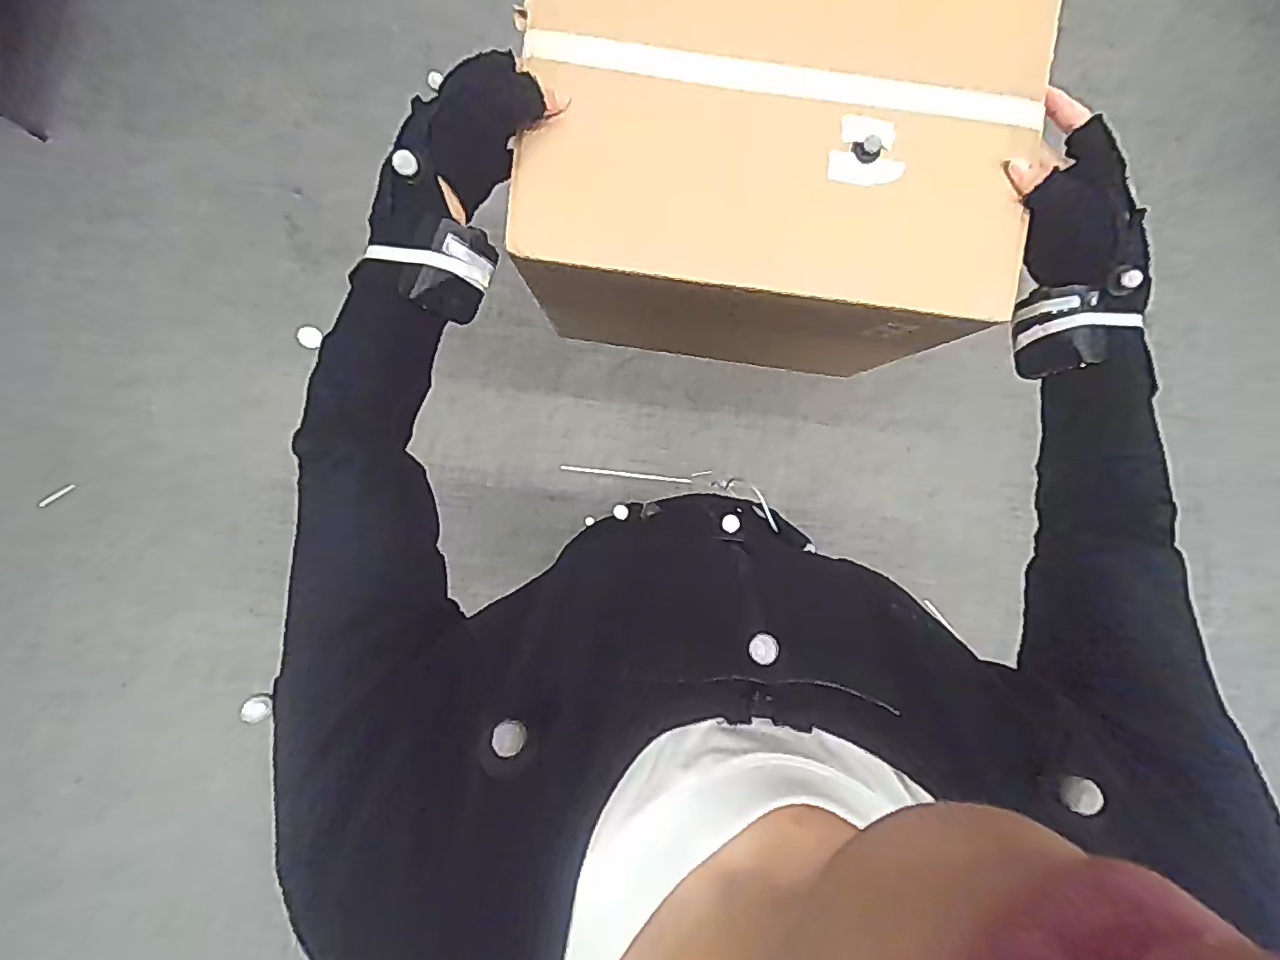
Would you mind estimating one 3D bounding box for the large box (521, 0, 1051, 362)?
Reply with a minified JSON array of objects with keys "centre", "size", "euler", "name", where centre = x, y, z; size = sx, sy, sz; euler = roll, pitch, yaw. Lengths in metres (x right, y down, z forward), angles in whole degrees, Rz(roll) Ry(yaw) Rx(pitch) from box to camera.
[{"centre":[0.110,-0.322,0.571],"size":[0.408,0.320,0.320],"euler":[7,93,-3],"name":"large box"}]
